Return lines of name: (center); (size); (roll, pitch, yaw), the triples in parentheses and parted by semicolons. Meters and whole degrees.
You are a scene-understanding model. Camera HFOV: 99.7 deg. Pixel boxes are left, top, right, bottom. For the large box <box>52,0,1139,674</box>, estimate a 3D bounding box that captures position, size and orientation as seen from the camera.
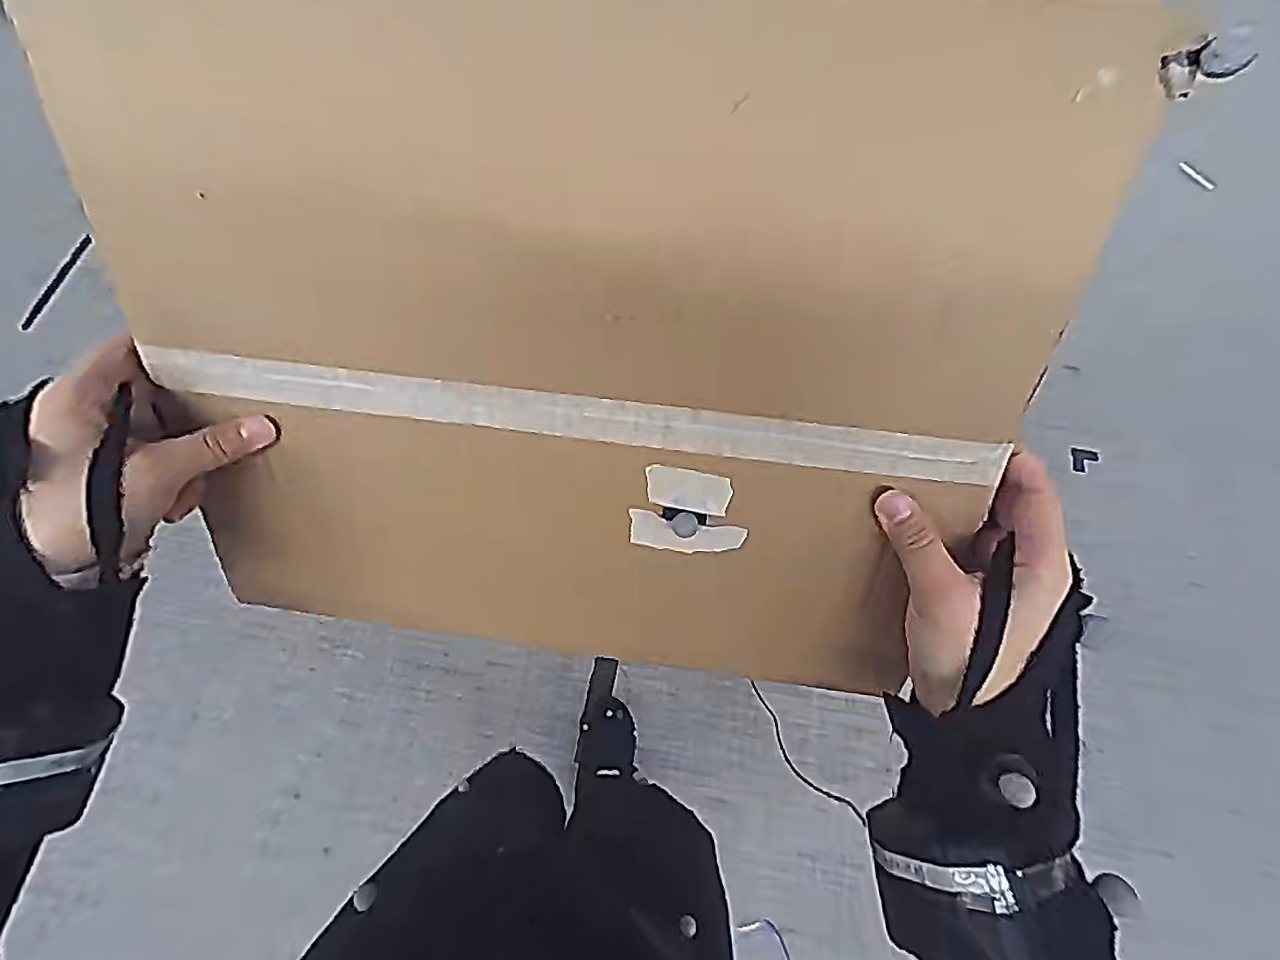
large box: (-0.024, -0.105, 0.394); (0.408, 0.320, 0.320); (7, 31, 2)
